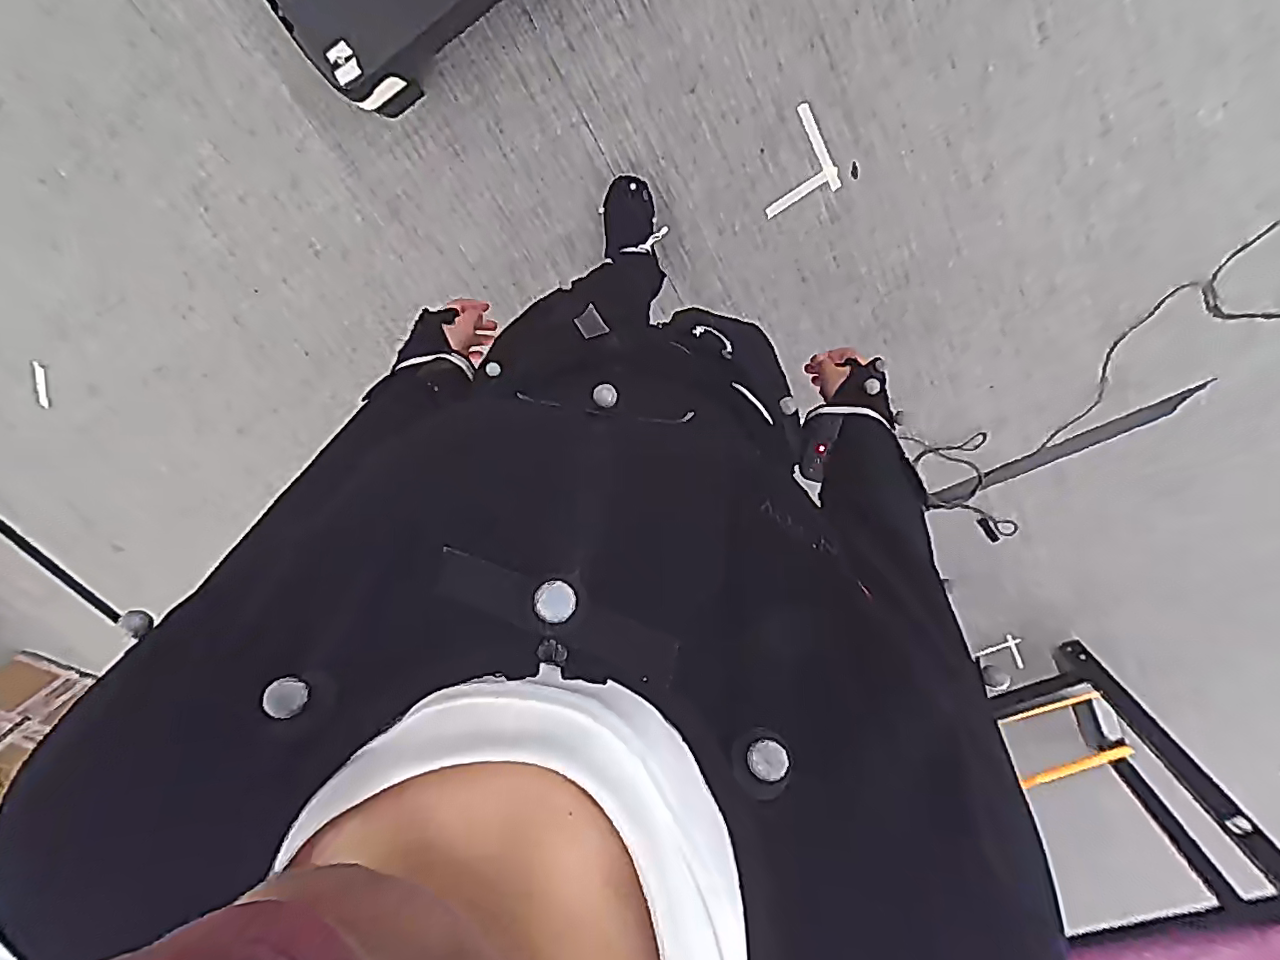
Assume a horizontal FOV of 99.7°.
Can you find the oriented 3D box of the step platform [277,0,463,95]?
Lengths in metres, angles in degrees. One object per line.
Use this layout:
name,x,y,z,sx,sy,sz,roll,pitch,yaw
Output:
step platform,-0.300,-0.959,0.865,0.684,0.204,0.286,-26,113,15
